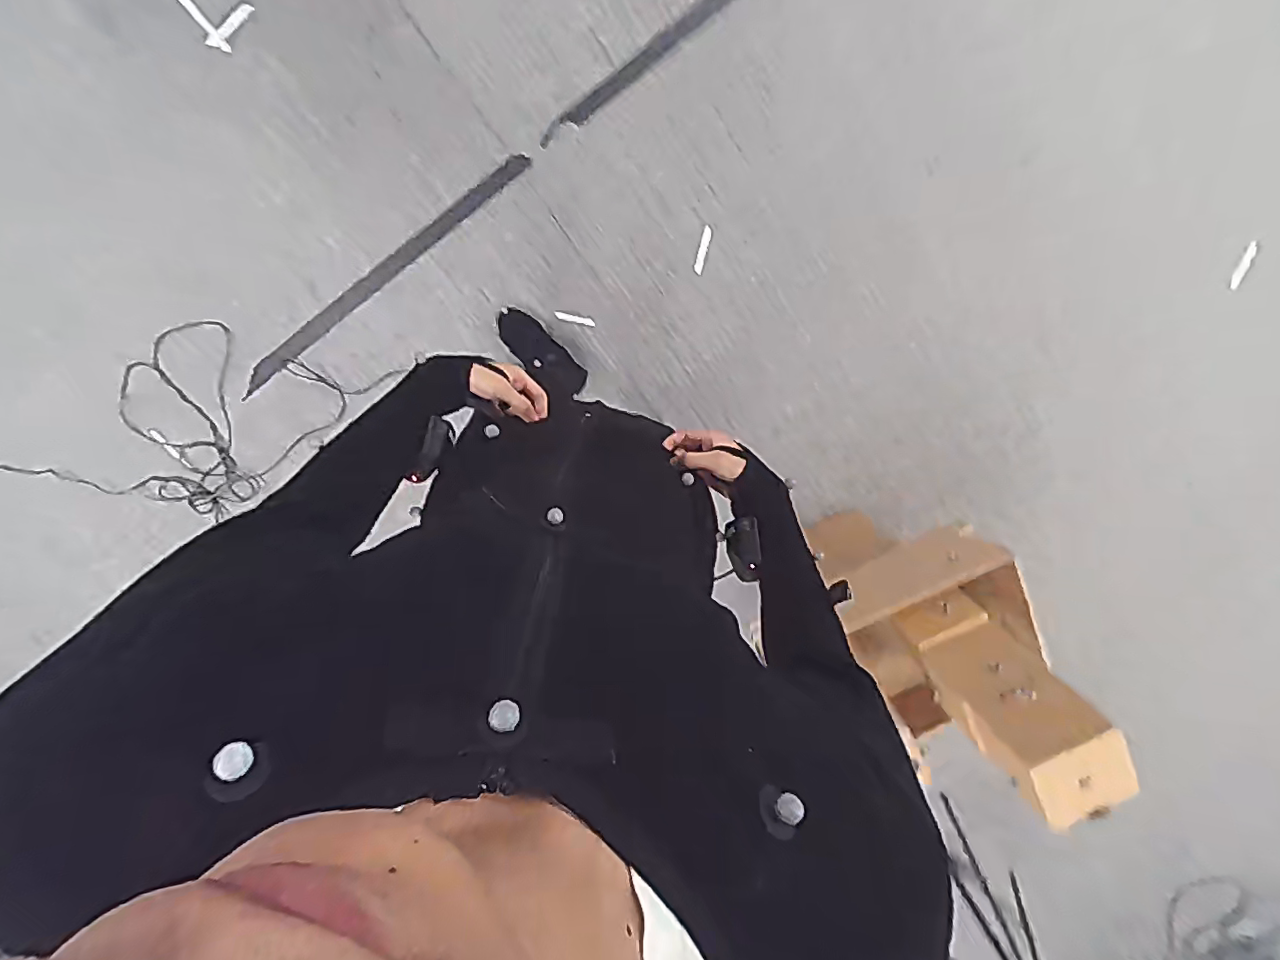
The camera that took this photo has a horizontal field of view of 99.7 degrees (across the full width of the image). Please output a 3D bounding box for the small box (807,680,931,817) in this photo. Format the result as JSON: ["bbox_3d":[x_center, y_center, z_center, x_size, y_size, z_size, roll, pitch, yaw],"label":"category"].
[{"bbox_3d":[0.484,0.576,1.177,0.179,0.176,0.168,-28,108,7],"label":"small box"}]

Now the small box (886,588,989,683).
[{"bbox_3d":[0.727,0.384,1.305,0.168,0.176,0.179,-28,109,7],"label":"small box"}]

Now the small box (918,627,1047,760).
[{"bbox_3d":[0.736,0.446,1.152,0.179,0.176,0.168,-26,108,6],"label":"small box"}]

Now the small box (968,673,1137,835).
[{"bbox_3d":[0.749,0.497,0.997,0.168,0.176,0.179,-29,109,6],"label":"small box"}]
